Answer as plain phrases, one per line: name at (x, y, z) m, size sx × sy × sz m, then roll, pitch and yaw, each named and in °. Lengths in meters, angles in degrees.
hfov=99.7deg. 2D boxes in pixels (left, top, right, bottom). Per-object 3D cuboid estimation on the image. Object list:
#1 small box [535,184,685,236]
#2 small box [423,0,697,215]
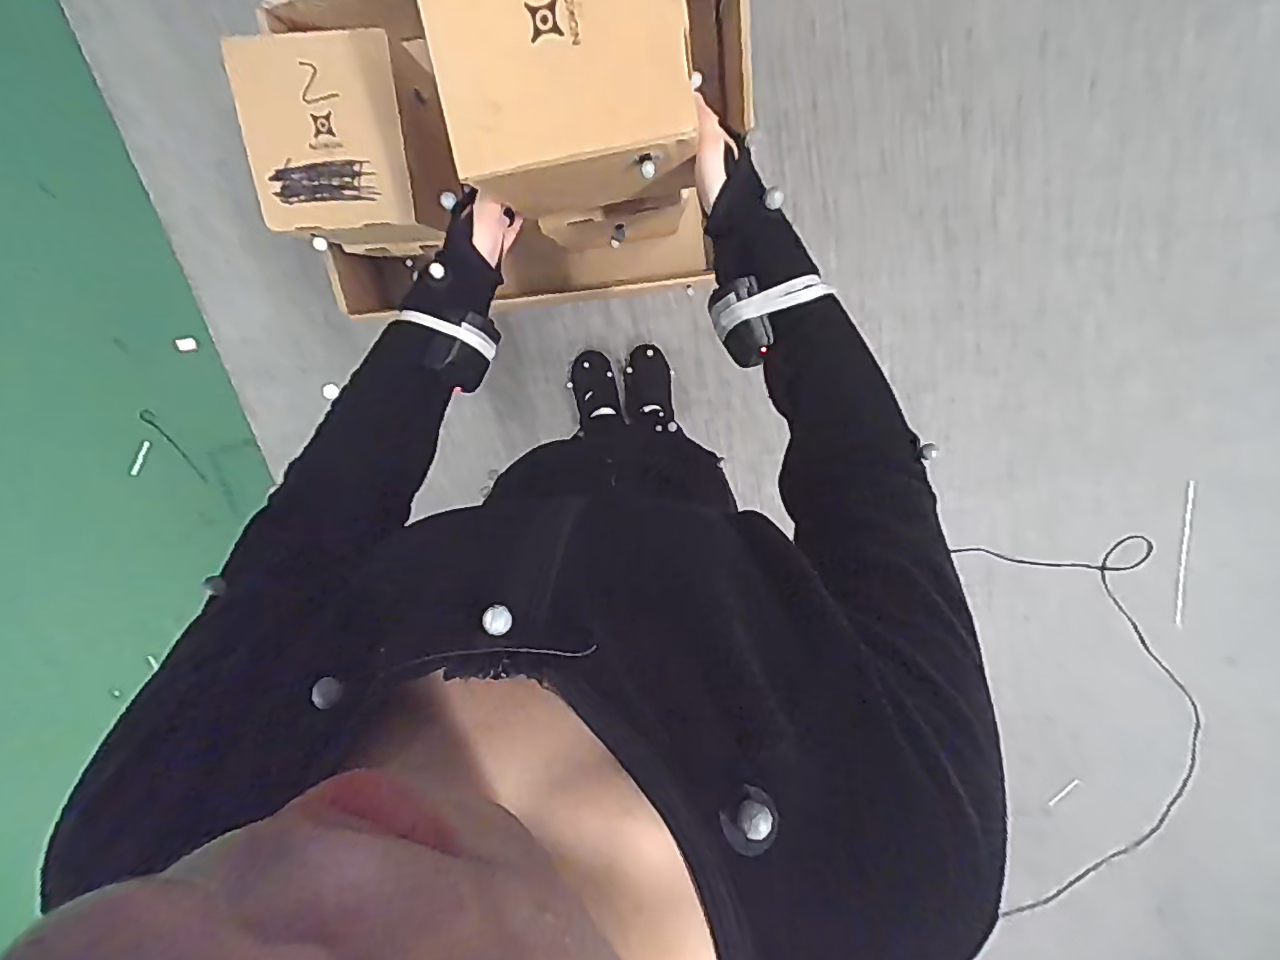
small box at (-0.041, -0.387, 0.625) m, size 0.168 × 0.176 × 0.179 m, roll -8°, pitch 110°, yaw 3°
small box at (-0.049, -0.327, 0.437) m, size 0.179 × 0.176 × 0.168 m, roll -7°, pitch 107°, yaw 6°
